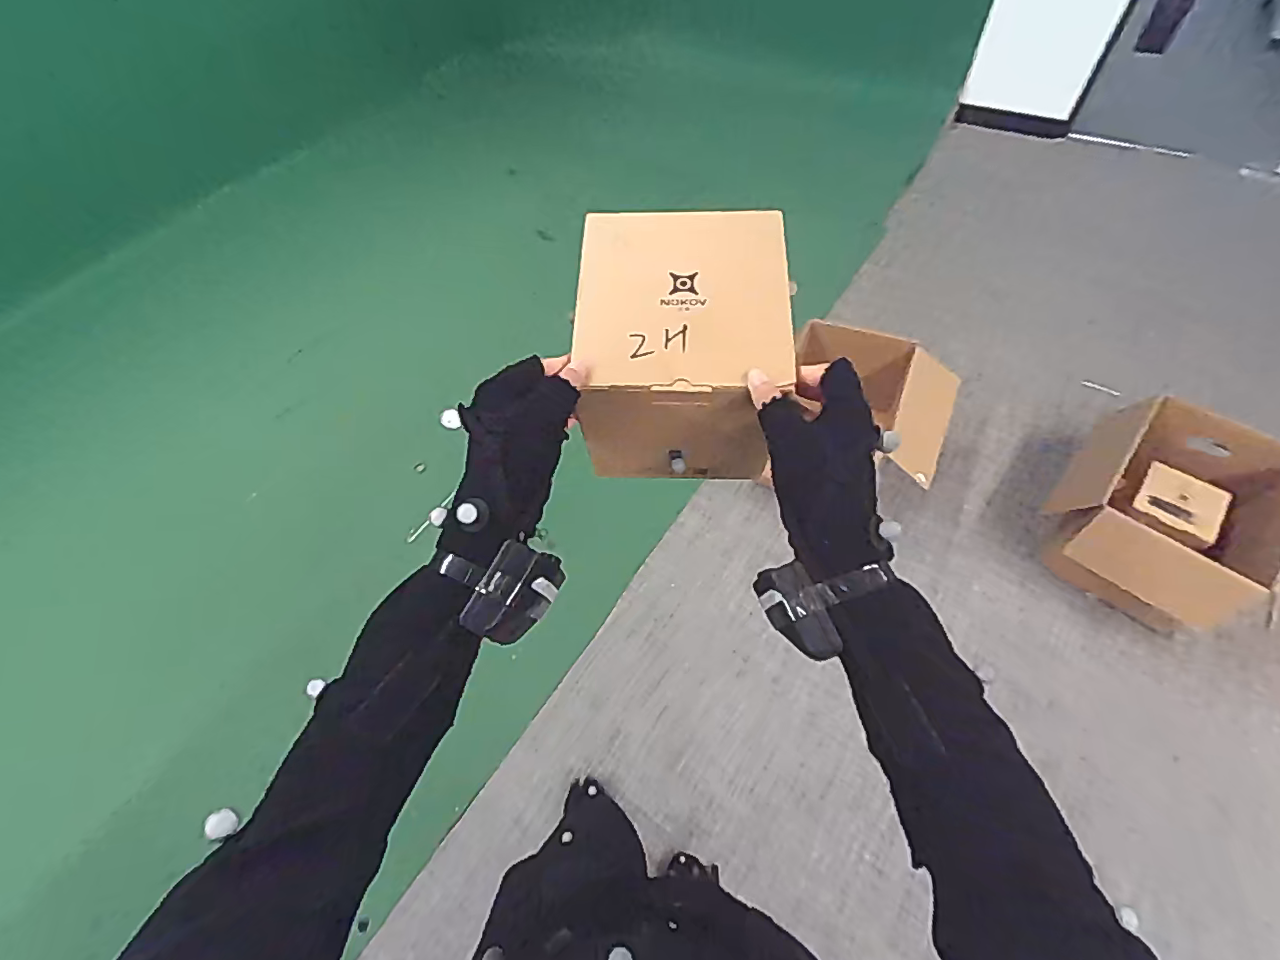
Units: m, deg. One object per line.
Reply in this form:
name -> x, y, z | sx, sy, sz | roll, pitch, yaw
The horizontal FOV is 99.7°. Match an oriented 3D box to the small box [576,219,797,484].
small box -> 0.042, -0.111, 0.501 | 0.168, 0.176, 0.179 | 2, 66, 5
